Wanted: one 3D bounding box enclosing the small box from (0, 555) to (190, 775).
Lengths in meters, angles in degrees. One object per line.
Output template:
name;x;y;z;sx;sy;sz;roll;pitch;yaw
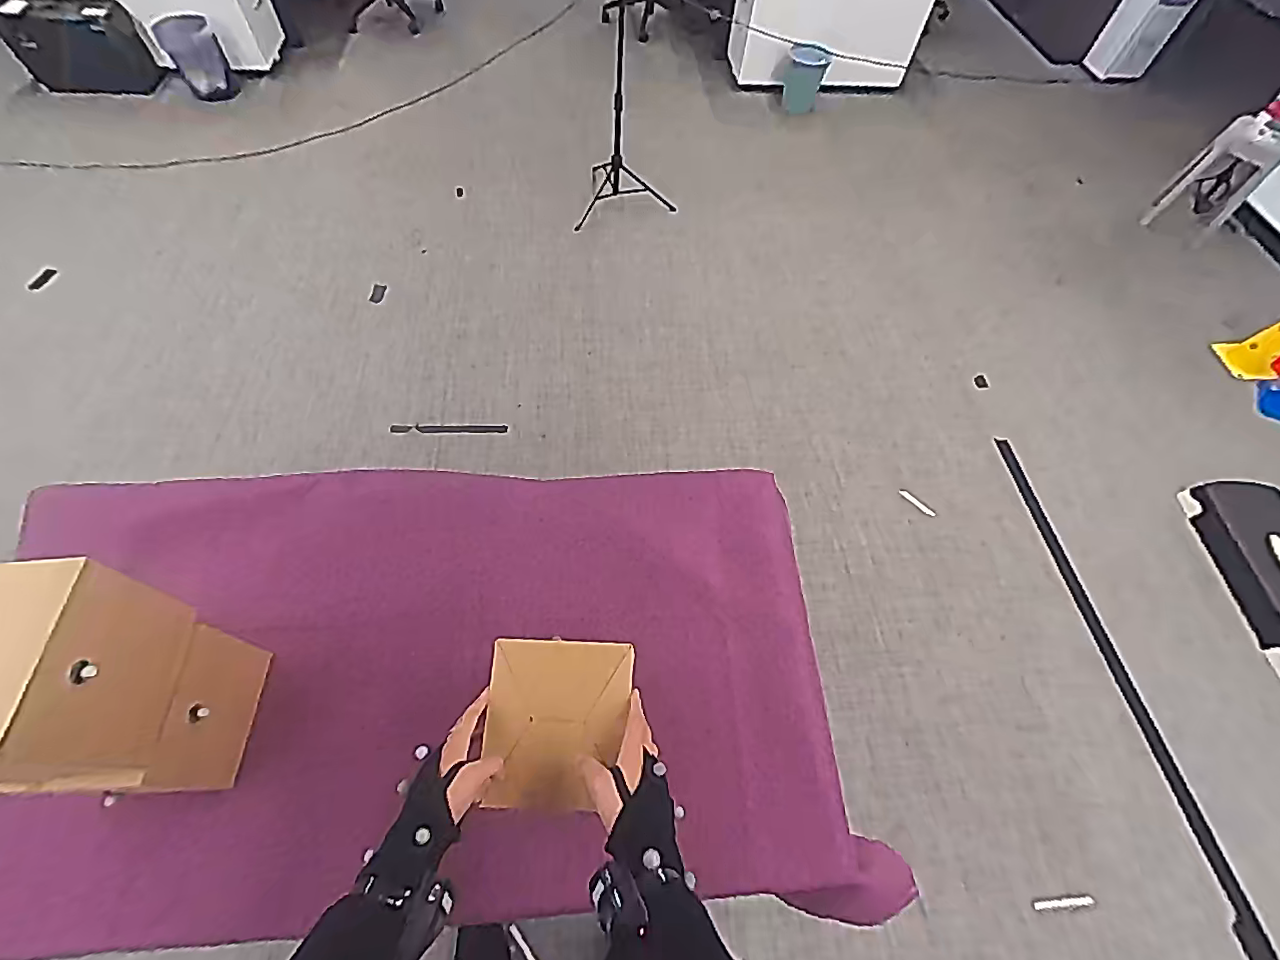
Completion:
small box;-0.604;0.191;0.538;0.168;0.176;0.179;-3;59;-6

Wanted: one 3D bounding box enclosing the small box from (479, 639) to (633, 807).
small box;-0.095;0.301;0.687;0.168;0.176;0.179;3;66;0

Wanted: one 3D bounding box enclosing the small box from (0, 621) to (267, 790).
small box;-0.610;0.284;0.674;0.168;0.176;0.179;1;59;-4
